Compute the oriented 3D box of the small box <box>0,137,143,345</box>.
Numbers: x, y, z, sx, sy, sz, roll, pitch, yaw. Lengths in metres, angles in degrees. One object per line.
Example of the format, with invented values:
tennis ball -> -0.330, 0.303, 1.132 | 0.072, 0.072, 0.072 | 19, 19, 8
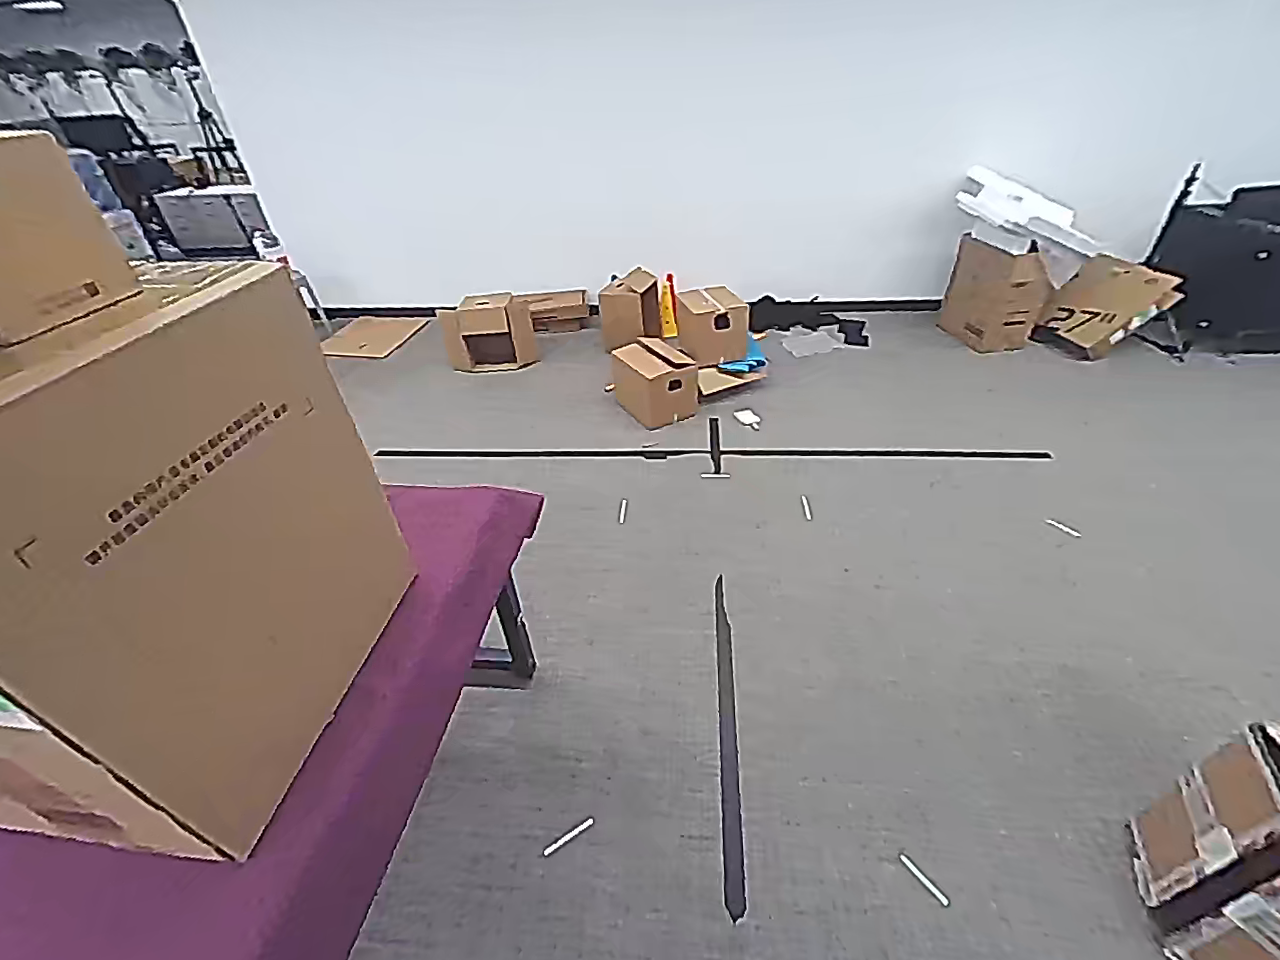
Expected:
small box -> -0.702, -0.246, 0.564 | 0.179, 0.176, 0.168 | 1, 38, 7
